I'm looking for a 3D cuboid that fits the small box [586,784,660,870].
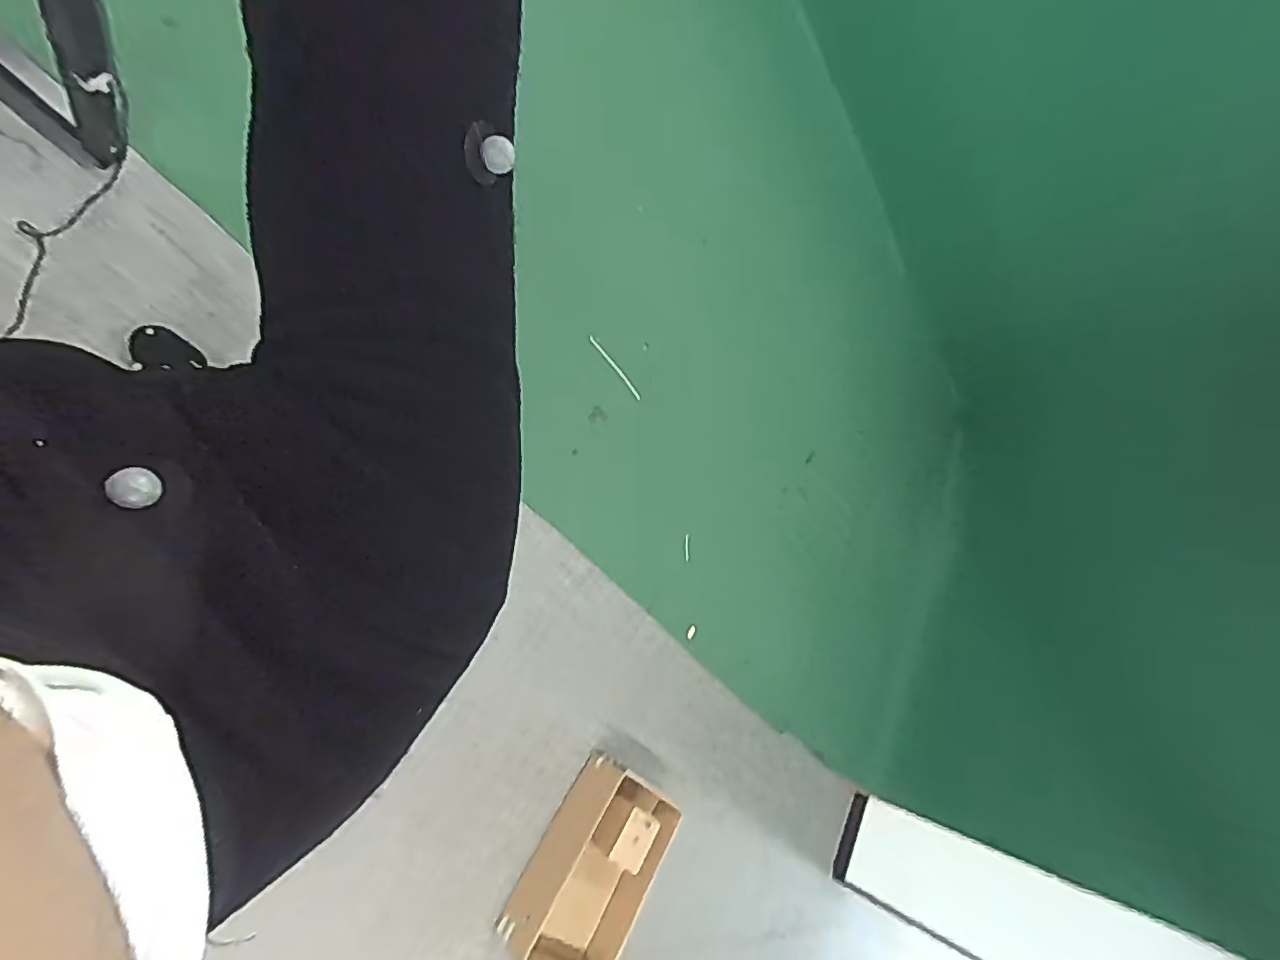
[{"bbox_3d":[-0.069,1.235,1.931,0.168,0.176,0.179,51,61,-29],"label":"small box"}]
